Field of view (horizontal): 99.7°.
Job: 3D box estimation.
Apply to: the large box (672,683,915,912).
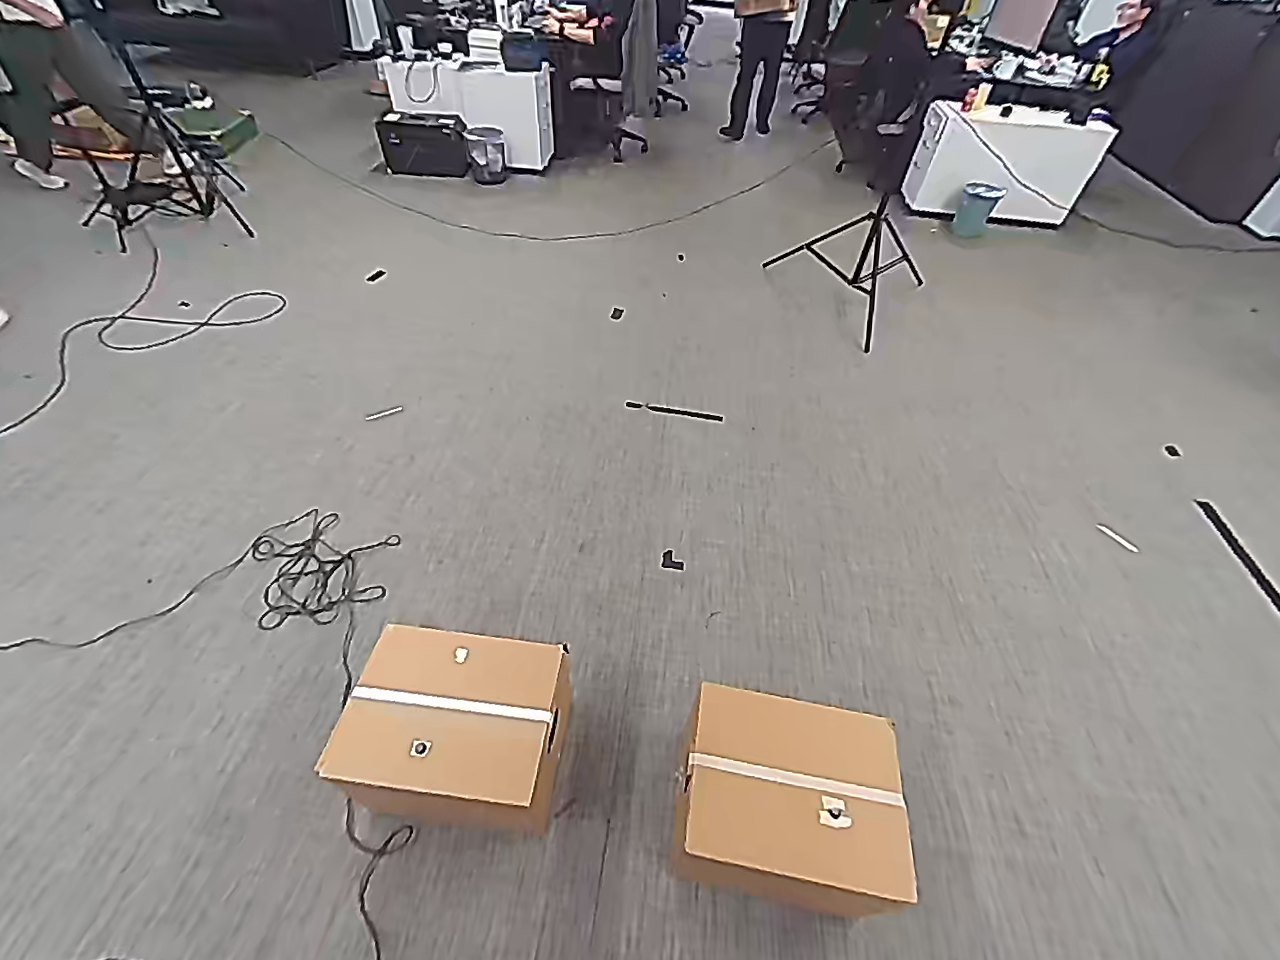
[{"bbox_3d":[0.296,0.677,1.154,0.408,0.320,0.320,10,48,4],"label":"large box"}]
